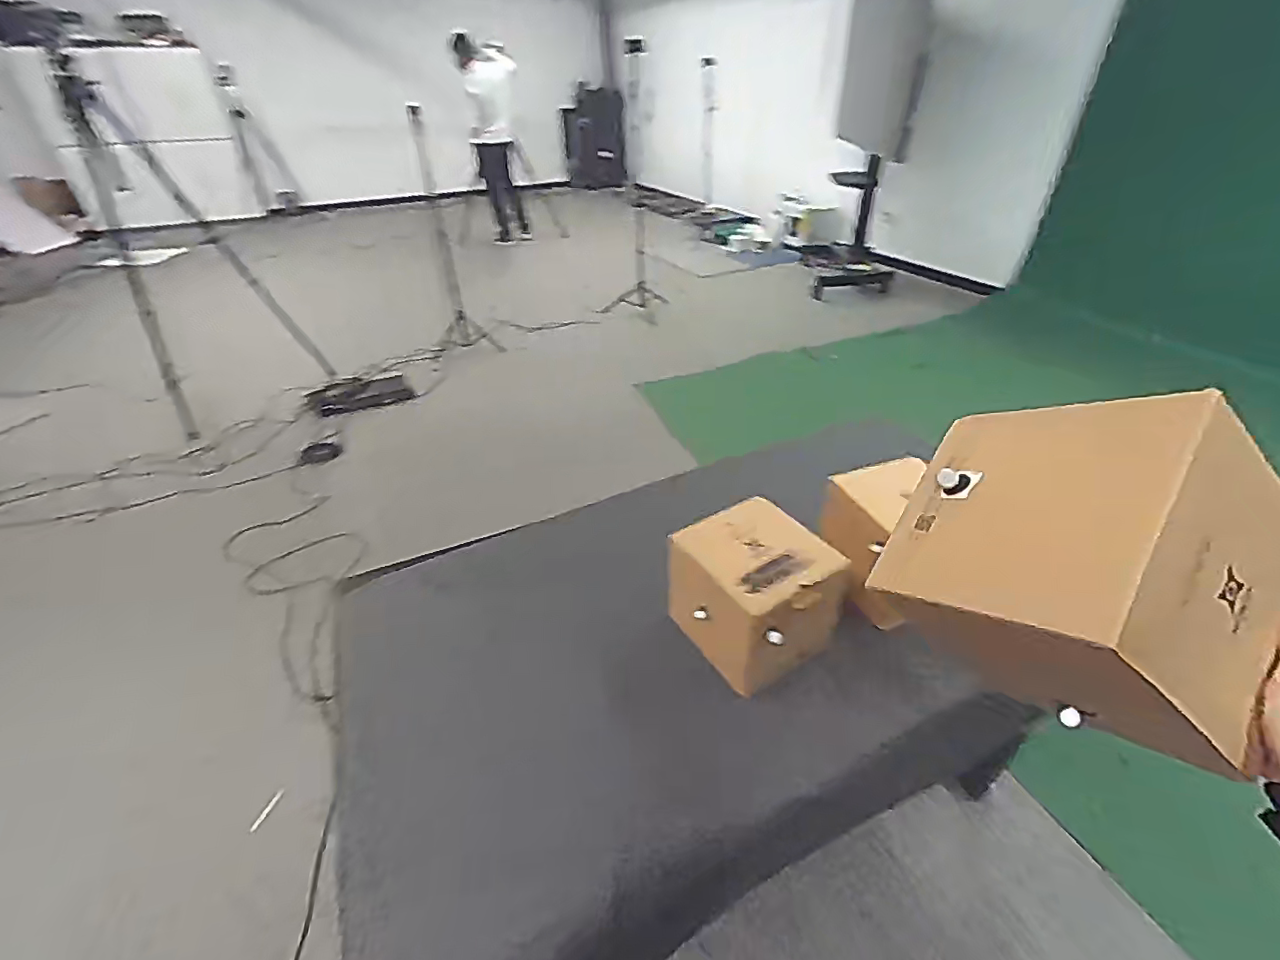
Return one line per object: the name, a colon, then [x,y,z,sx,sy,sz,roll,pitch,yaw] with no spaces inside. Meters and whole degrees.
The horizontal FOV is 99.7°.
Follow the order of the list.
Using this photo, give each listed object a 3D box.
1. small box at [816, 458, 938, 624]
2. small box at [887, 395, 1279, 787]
small box: [0.399,0.091,0.845,0.168,0.176,0.179,-13,38,-15]
small box: [0.320,0.065,0.380,0.168,0.179,0.176,-56,17,-12]
